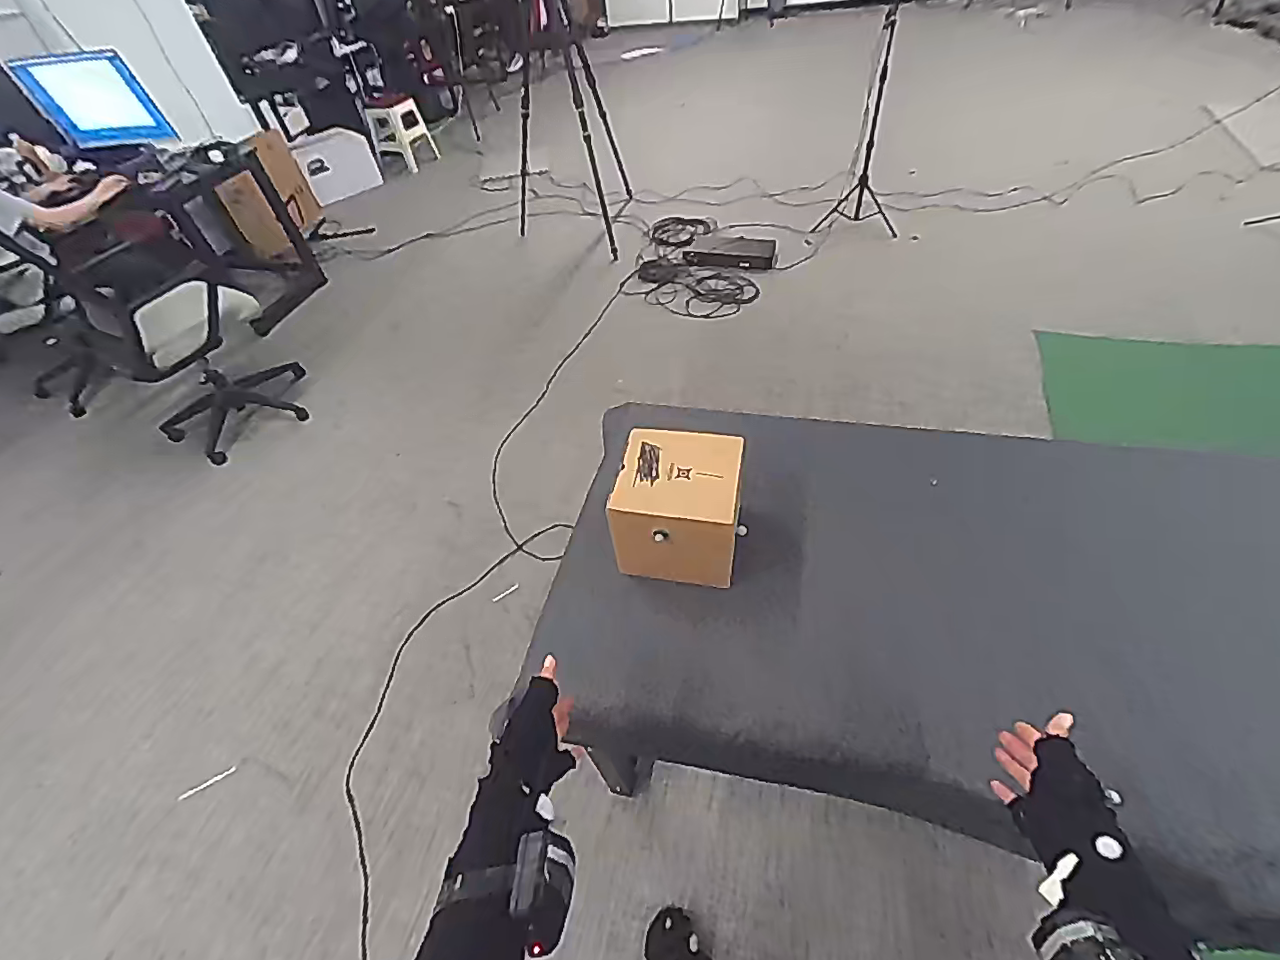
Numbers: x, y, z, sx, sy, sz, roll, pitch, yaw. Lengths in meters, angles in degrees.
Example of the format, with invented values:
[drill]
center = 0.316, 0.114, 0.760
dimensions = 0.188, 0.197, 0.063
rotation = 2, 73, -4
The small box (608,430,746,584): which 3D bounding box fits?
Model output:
[small box]
center = 0.064, 0.043, 0.836
dimensions = 0.179, 0.176, 0.168
rotation = 6, 50, 12
